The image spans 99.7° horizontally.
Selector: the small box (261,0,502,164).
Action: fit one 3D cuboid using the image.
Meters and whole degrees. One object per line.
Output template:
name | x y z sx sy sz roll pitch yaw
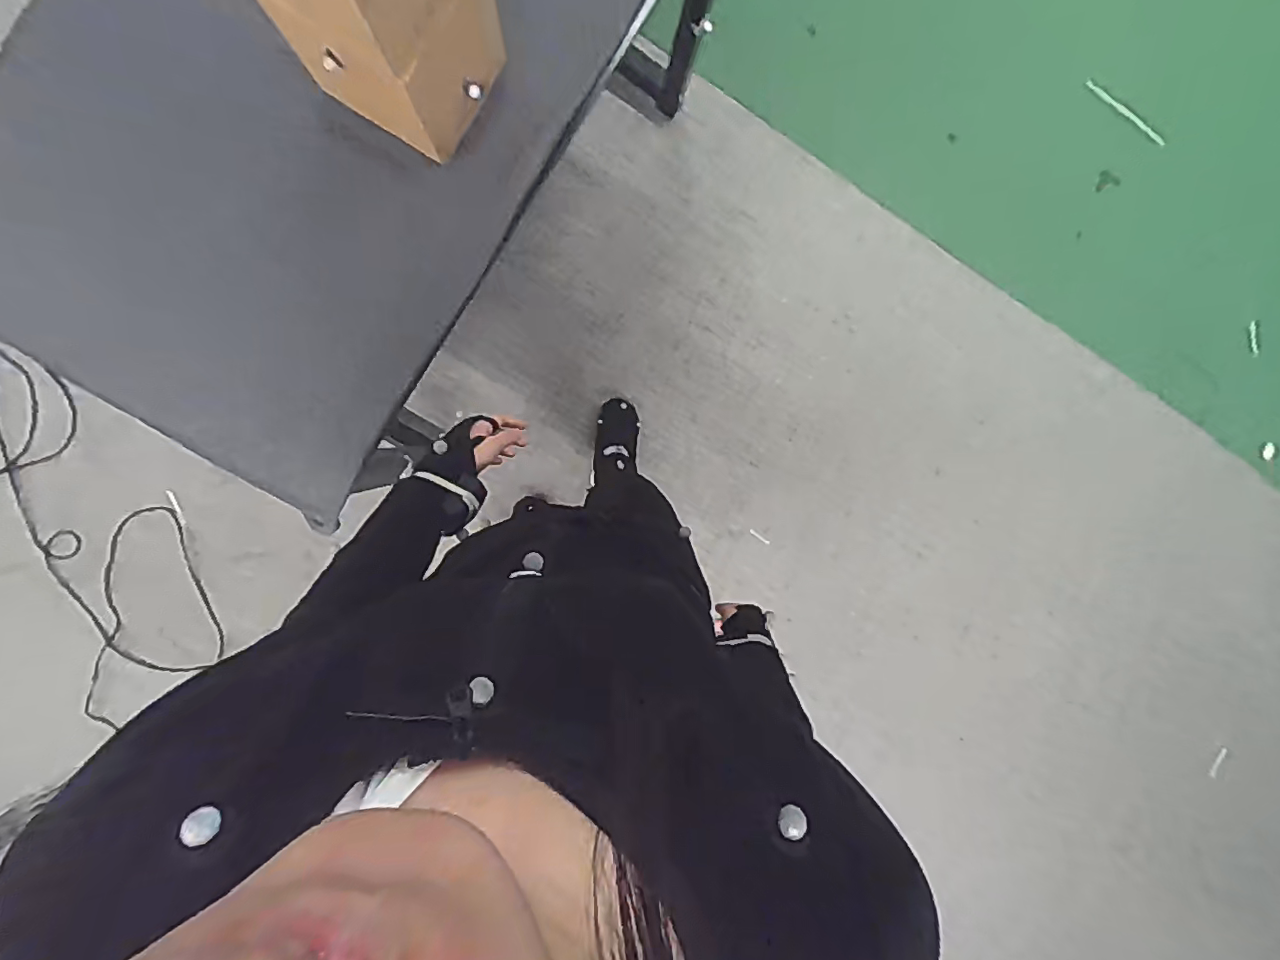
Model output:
small box | -0.283 -0.515 0.628 0.179 0.176 0.168 30 90 -7
